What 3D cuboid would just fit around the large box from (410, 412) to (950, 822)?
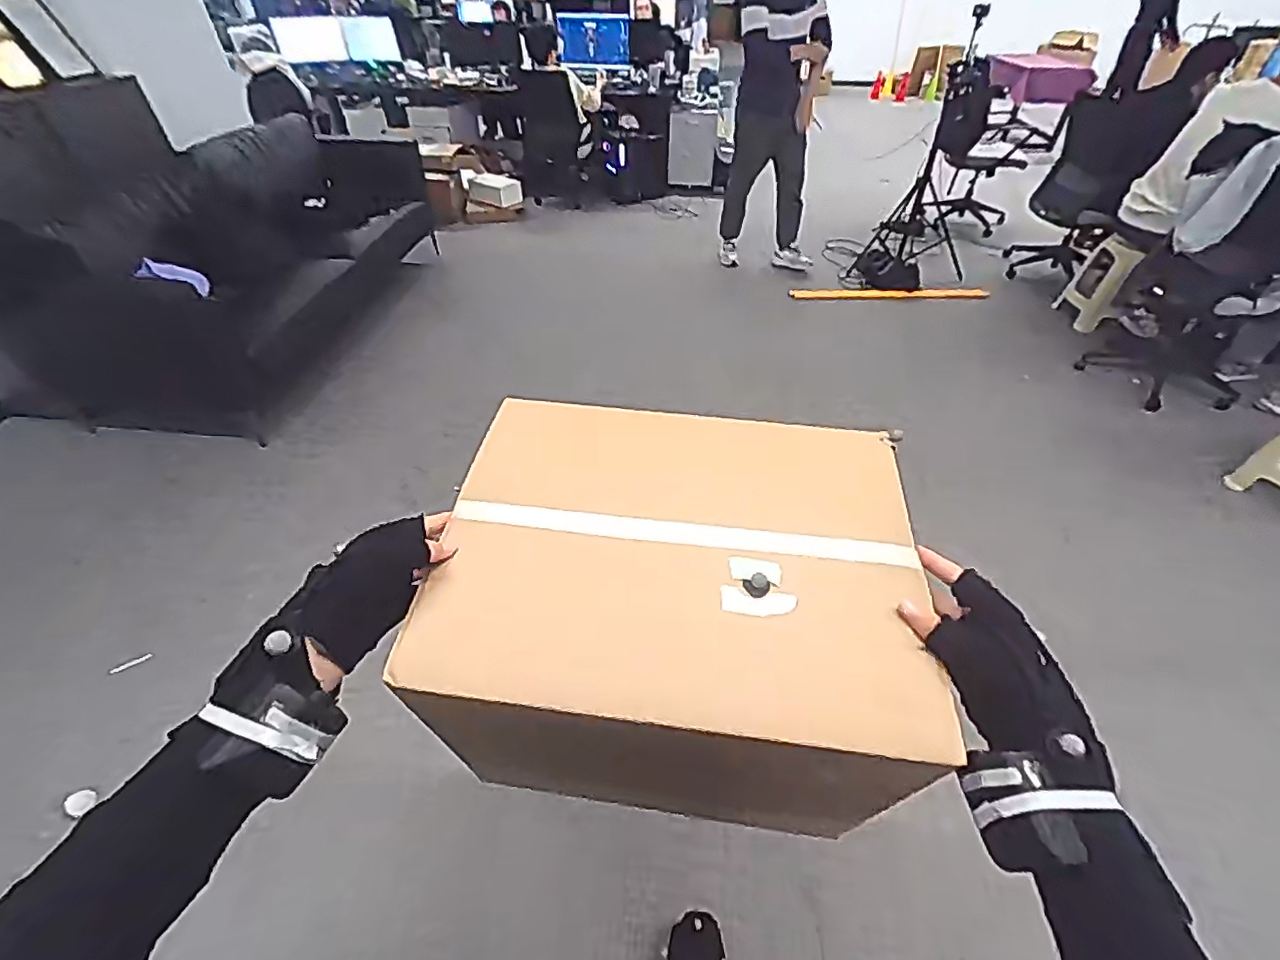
[{"bbox_3d":[0.037,0.151,0.598,0.408,0.320,0.320,5,50,5],"label":"large box"}]
